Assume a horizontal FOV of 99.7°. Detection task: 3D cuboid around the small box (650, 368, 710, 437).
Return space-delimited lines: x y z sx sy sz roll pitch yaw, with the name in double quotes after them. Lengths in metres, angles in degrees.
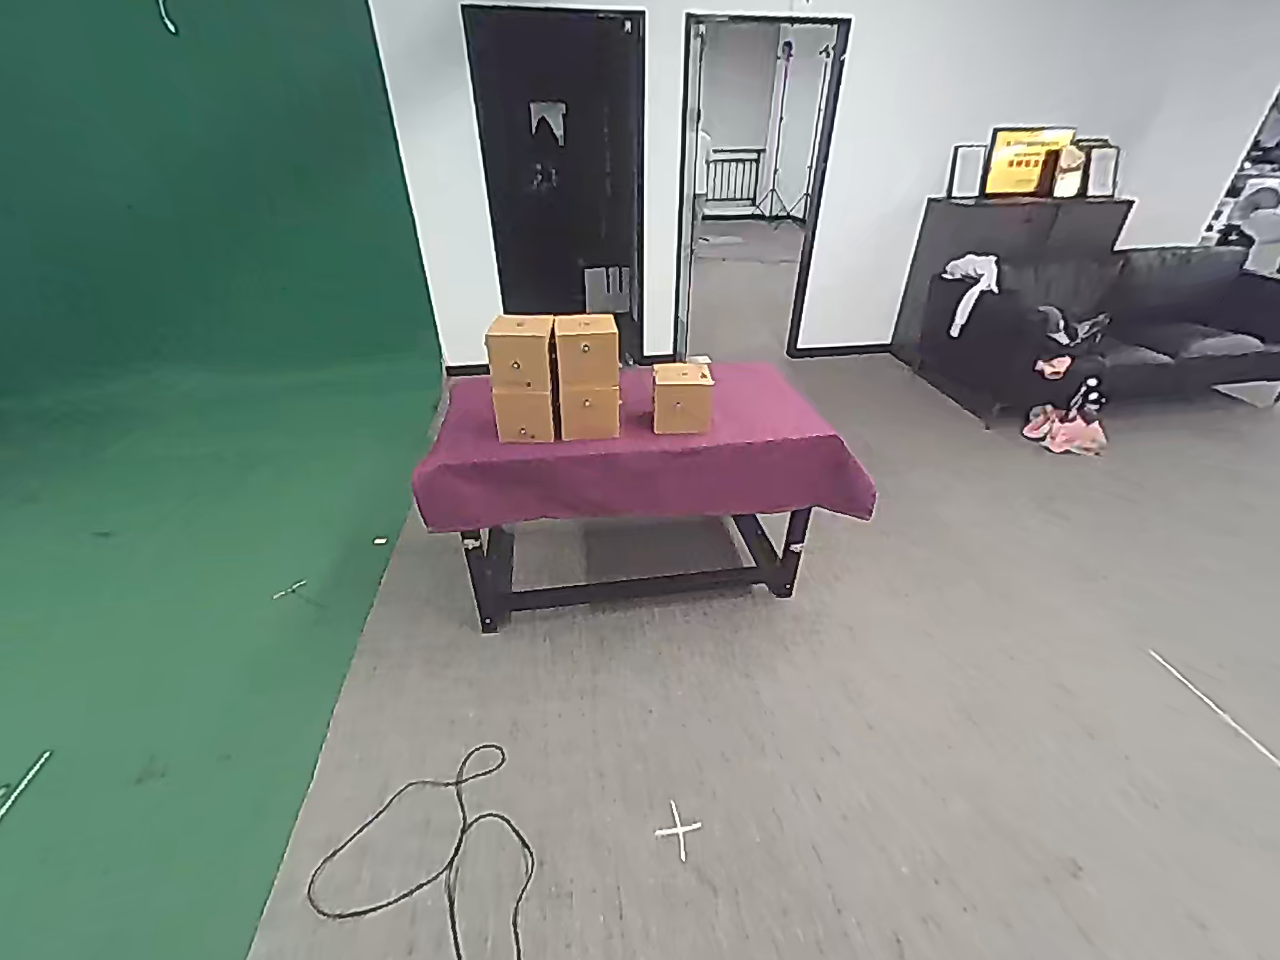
0.122 -0.244 1.708 0.179 0.176 0.168 0 34 -1 "small box"
